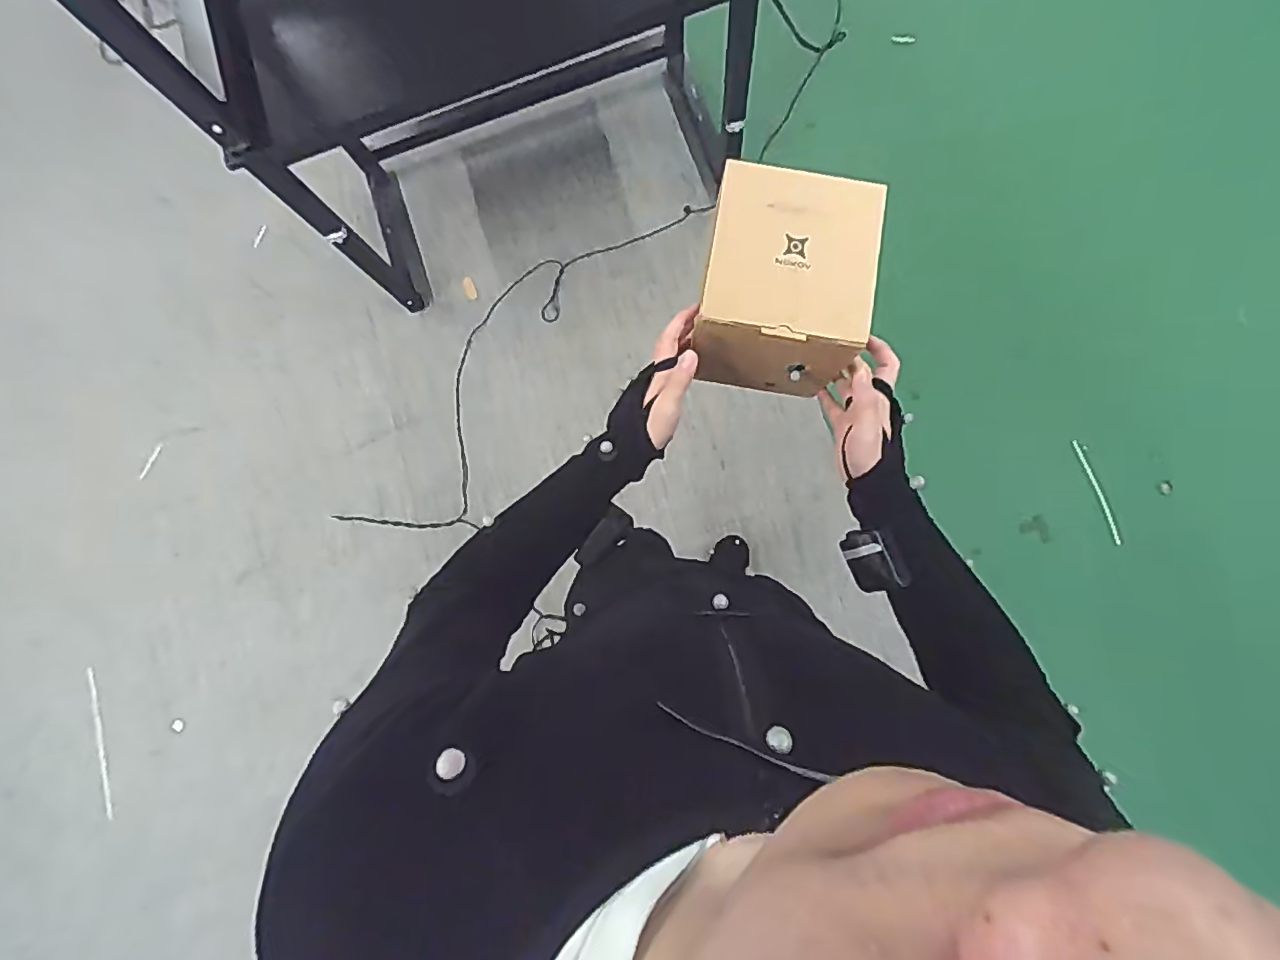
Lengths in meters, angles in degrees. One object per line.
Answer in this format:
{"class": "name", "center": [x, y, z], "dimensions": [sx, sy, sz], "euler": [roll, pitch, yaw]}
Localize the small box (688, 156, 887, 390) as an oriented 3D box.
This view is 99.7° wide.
{"class": "small box", "center": [0.151, -0.215, 0.606], "dimensions": [0.168, 0.176, 0.179], "euler": [10, 81, 1]}
